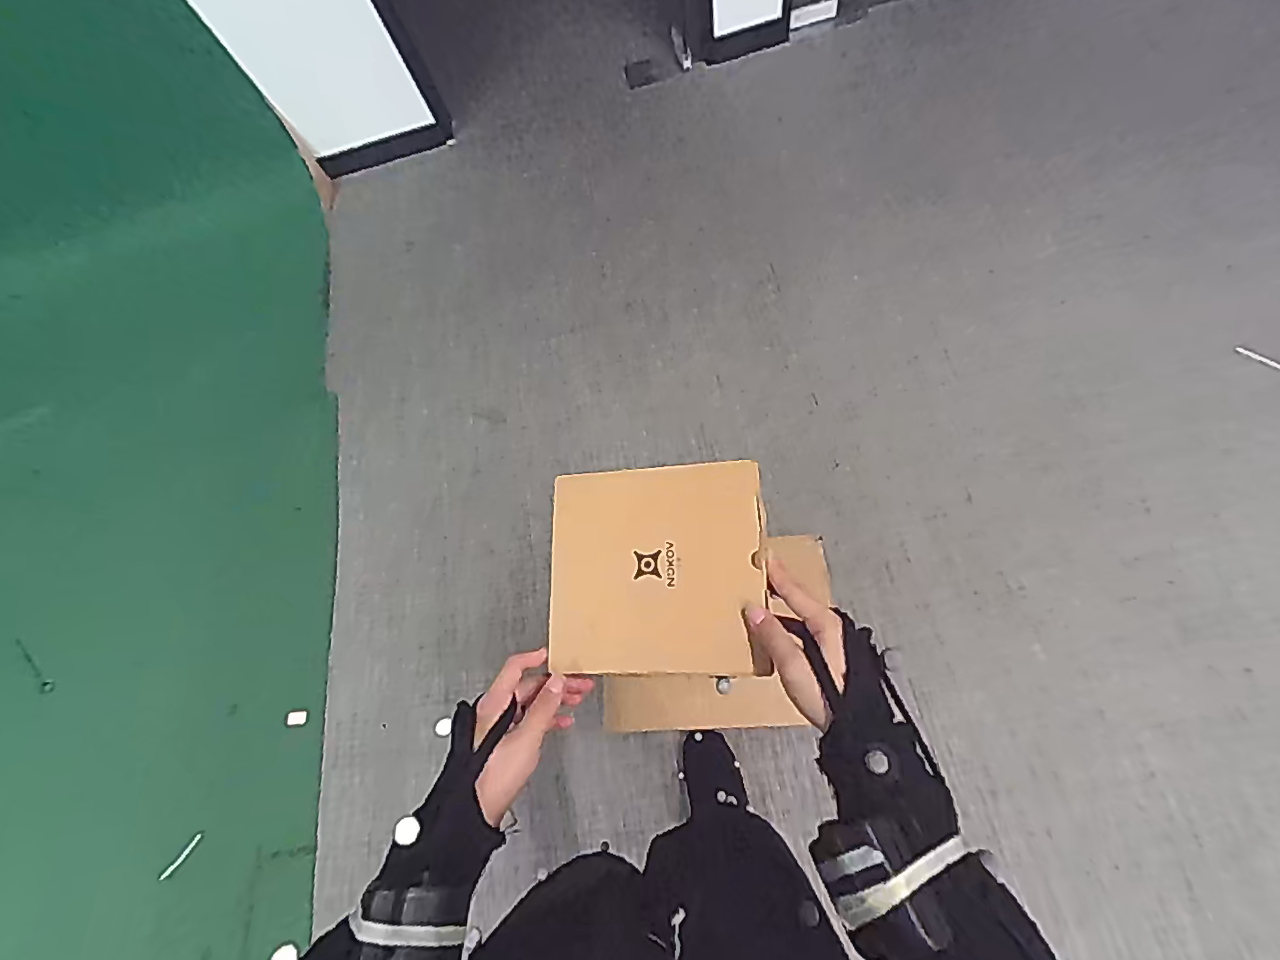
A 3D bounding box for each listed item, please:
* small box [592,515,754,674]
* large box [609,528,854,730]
[{"bbox_3d":[0.046,0.157,0.705,0.179,0.176,0.168,-9,67,7],"label":"small box"},{"bbox_3d":[0.157,0.303,1.072,0.408,0.320,0.320,-6,70,7],"label":"large box"}]
